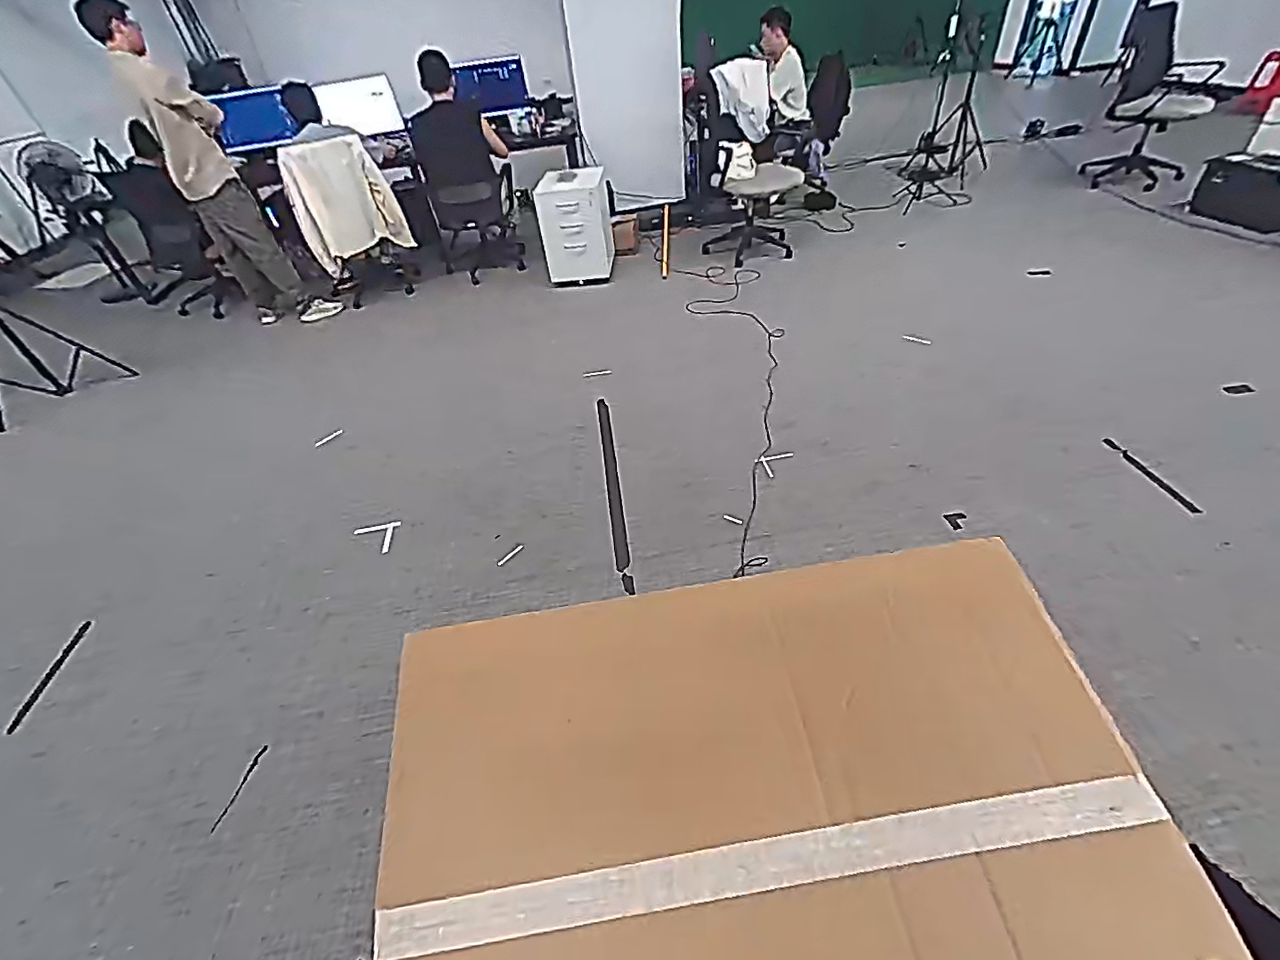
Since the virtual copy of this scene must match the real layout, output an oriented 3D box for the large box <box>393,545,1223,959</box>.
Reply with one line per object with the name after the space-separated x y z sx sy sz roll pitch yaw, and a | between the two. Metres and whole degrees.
0.077 0.286 0.409 0.408 0.320 0.320 -10 57 -1 | large box
